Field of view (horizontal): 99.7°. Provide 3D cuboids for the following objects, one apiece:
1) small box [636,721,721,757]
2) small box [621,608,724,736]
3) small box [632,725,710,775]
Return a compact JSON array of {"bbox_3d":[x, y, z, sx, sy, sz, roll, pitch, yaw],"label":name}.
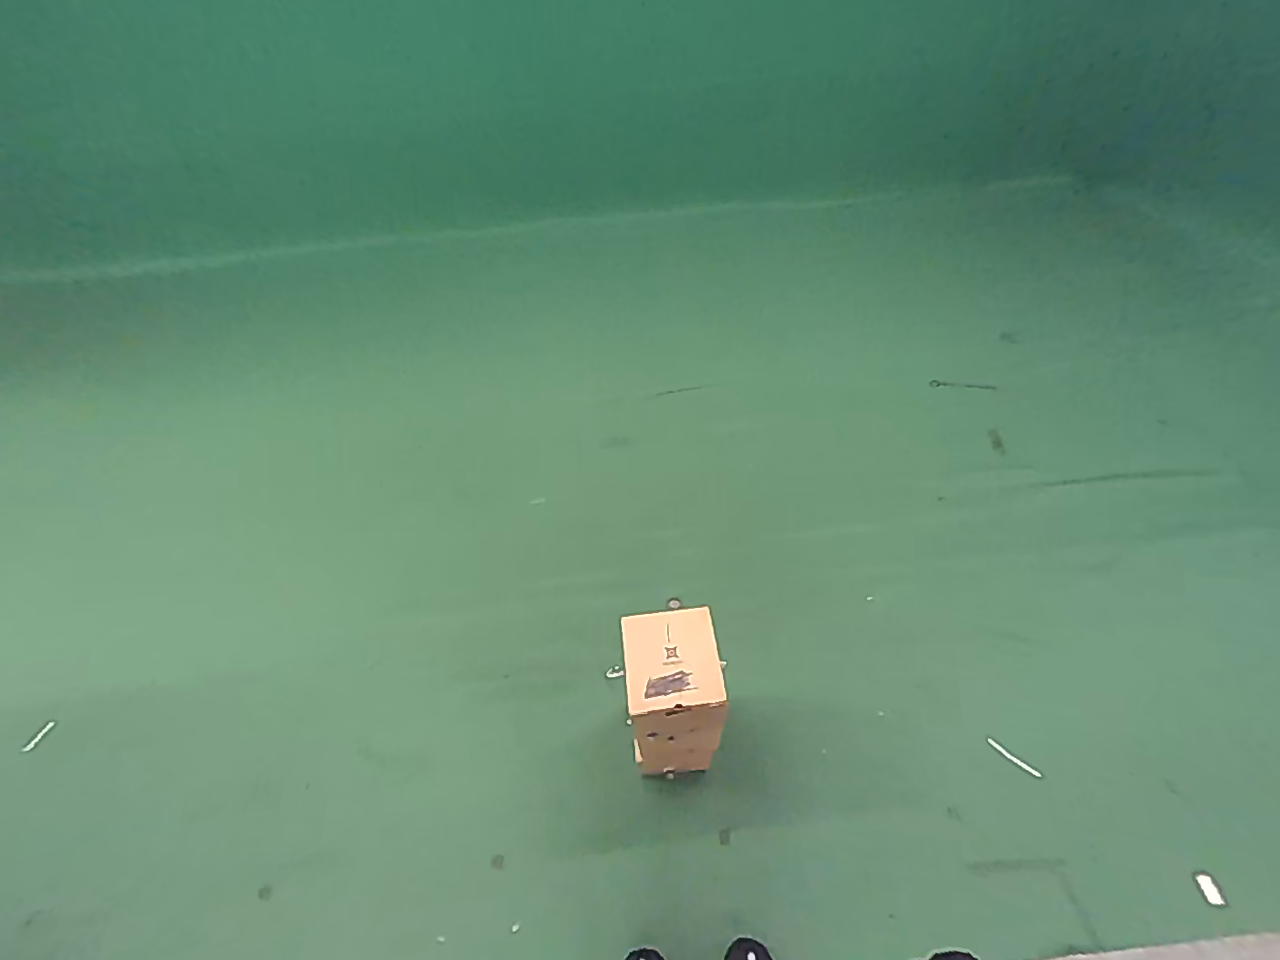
[{"bbox_3d":[0.069,0.464,1.132,0.168,0.176,0.179,-7,50,-1],"label":"small box"},{"bbox_3d":[0.058,0.361,1.003,0.168,0.176,0.179,-6,50,-1],"label":"small box"},{"bbox_3d":[0.067,0.560,1.241,0.168,0.176,0.179,-5,51,2],"label":"small box"}]
